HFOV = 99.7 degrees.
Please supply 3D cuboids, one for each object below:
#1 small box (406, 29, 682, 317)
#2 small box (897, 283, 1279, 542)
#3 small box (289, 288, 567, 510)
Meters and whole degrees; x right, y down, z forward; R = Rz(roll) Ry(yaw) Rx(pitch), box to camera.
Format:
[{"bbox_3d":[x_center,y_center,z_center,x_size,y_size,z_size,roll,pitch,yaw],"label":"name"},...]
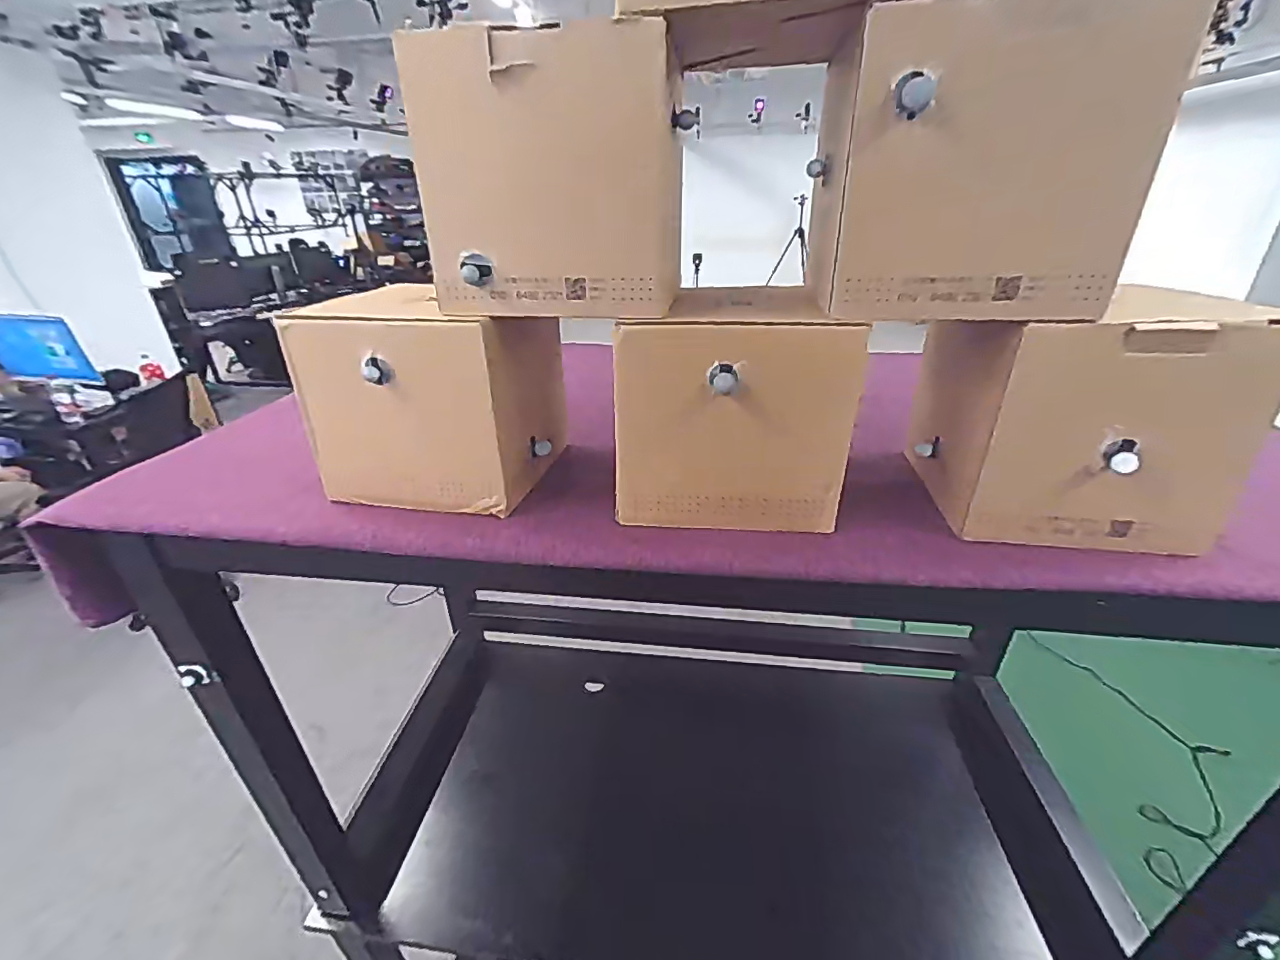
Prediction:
[{"bbox_3d":[-0.054,-0.230,0.437,0.168,0.176,0.179,3,26,7],"label":"small box"},{"bbox_3d":[0.335,-0.064,0.453,0.168,0.176,0.179,4,28,9],"label":"small box"},{"bbox_3d":[-0.179,-0.084,0.516,0.179,0.176,0.168,5,28,10],"label":"small box"}]
